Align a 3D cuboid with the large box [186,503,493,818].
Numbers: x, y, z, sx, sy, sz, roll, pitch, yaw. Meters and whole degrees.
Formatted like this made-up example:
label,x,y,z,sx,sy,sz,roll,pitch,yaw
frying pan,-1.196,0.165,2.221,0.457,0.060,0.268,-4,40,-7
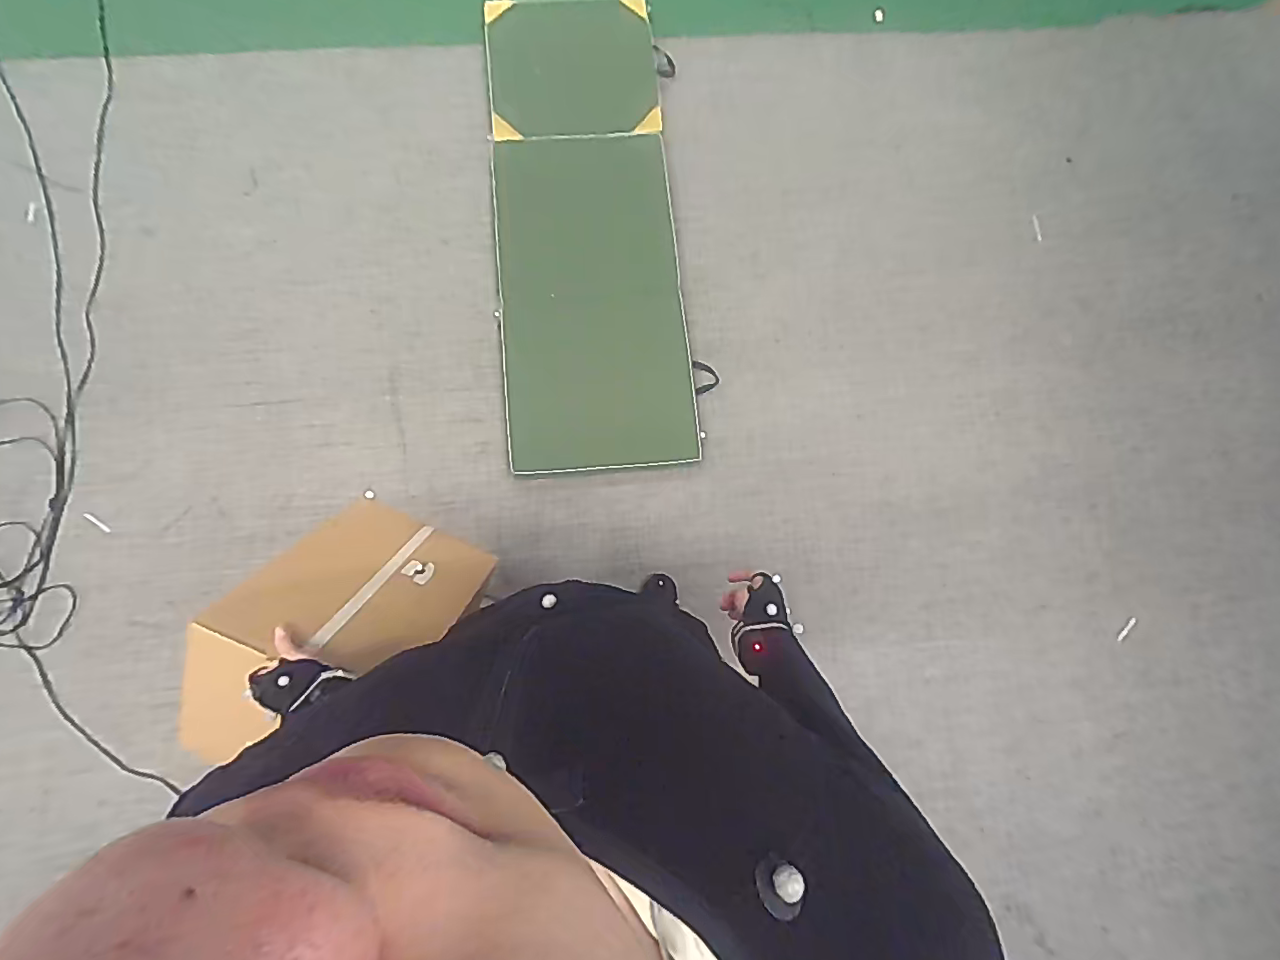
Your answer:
label,x,y,z,sx,sy,sz,roll,pitch,yaw
large box,-0.528,0.311,1.009,0.320,0.408,0.320,27,114,-4
